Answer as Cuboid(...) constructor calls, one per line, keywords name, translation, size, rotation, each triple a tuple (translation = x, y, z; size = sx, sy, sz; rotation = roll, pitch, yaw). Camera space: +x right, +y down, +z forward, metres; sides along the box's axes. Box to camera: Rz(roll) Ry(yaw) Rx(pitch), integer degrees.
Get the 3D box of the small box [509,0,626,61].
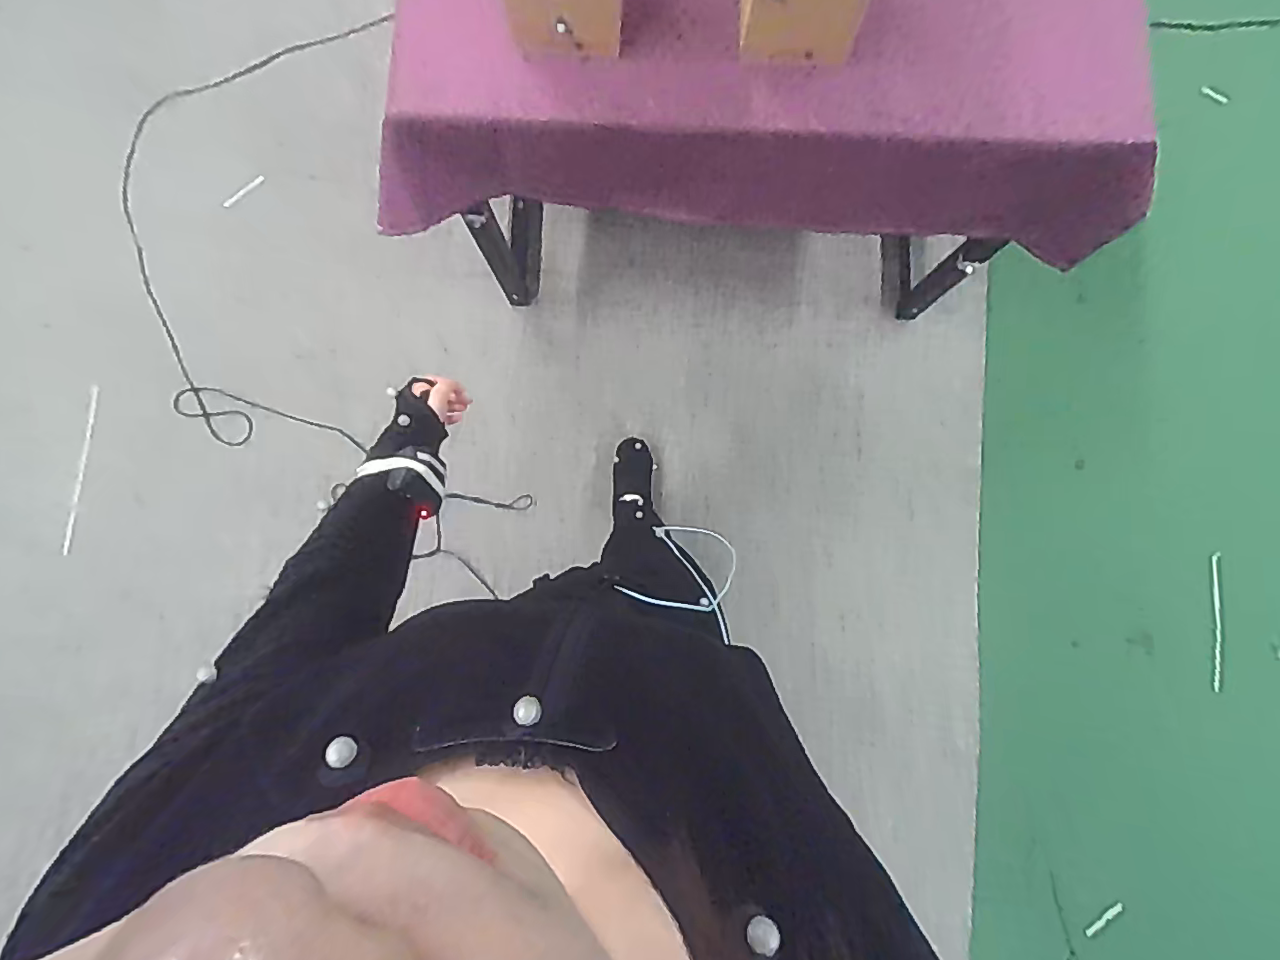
Cuboid(name="small box", translation=(-0.106, -0.764, 0.785), size=(0.168, 0.176, 0.179), rotation=(4, 83, 1))
